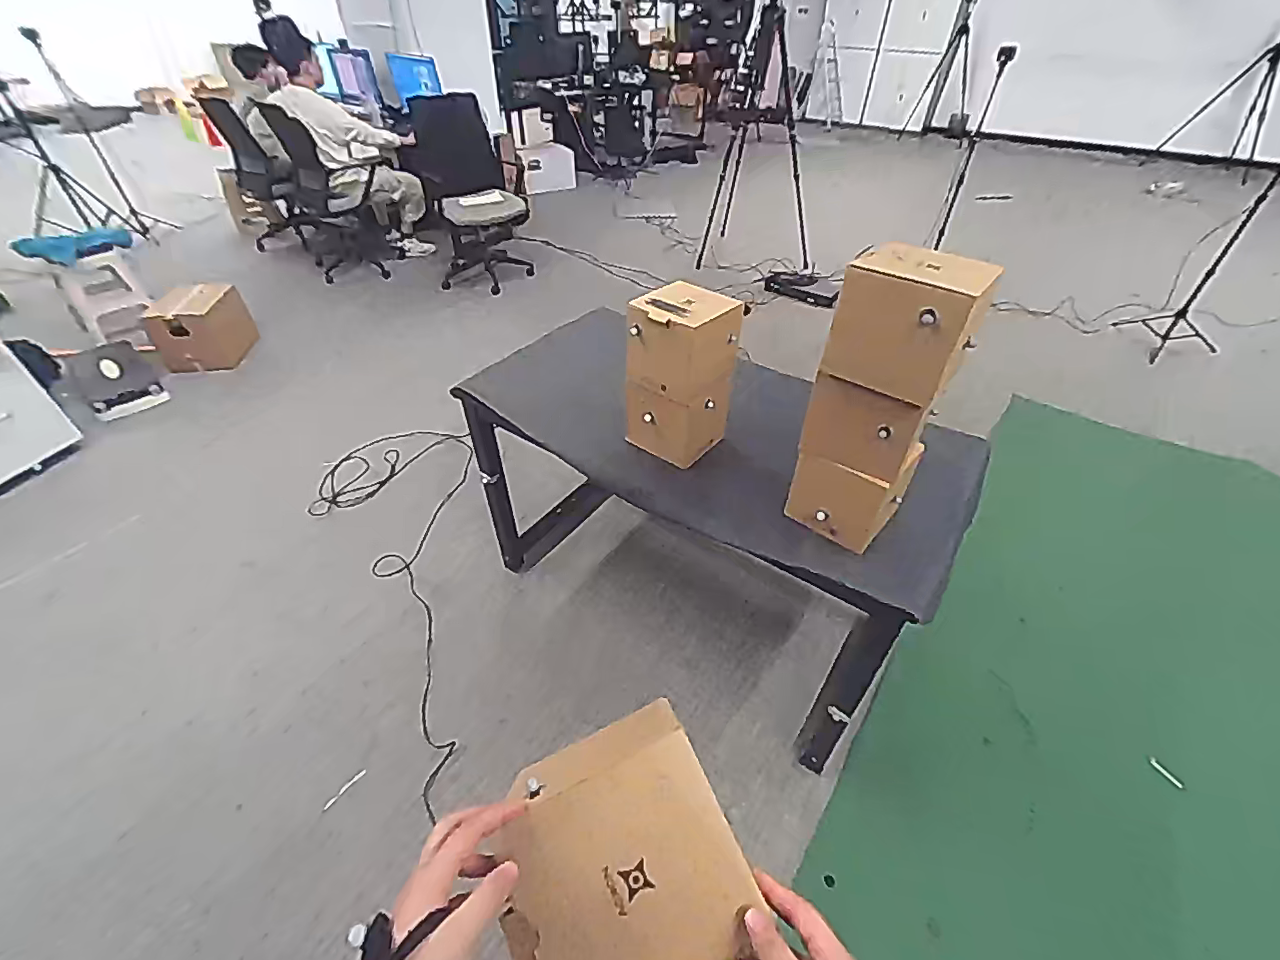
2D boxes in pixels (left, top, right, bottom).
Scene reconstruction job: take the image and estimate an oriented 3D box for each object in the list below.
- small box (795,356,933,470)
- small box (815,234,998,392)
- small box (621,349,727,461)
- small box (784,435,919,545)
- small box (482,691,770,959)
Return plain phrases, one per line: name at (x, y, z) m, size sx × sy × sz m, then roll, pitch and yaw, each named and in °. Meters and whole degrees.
small box at (0.392, -0.139, 0.940) m, size 0.179 × 0.176 × 0.168 m, roll 23°, pitch 43°, yaw 26°
small box at (0.393, -0.250, 0.815) m, size 0.179 × 0.176 × 0.168 m, roll 28°, pitch 45°, yaw 29°
small box at (0.074, -0.169, 1.221) m, size 0.179 × 0.176 × 0.168 m, roll 27°, pitch 47°, yaw 28°
small box at (0.397, -0.010, 1.038) m, size 0.168 × 0.176 × 0.179 m, roll 30°, pitch 48°, yaw 31°
small box at (-0.014, 0.314, 0.490) m, size 0.179 × 0.176 × 0.168 m, roll -26°, pitch 79°, yaw -6°
